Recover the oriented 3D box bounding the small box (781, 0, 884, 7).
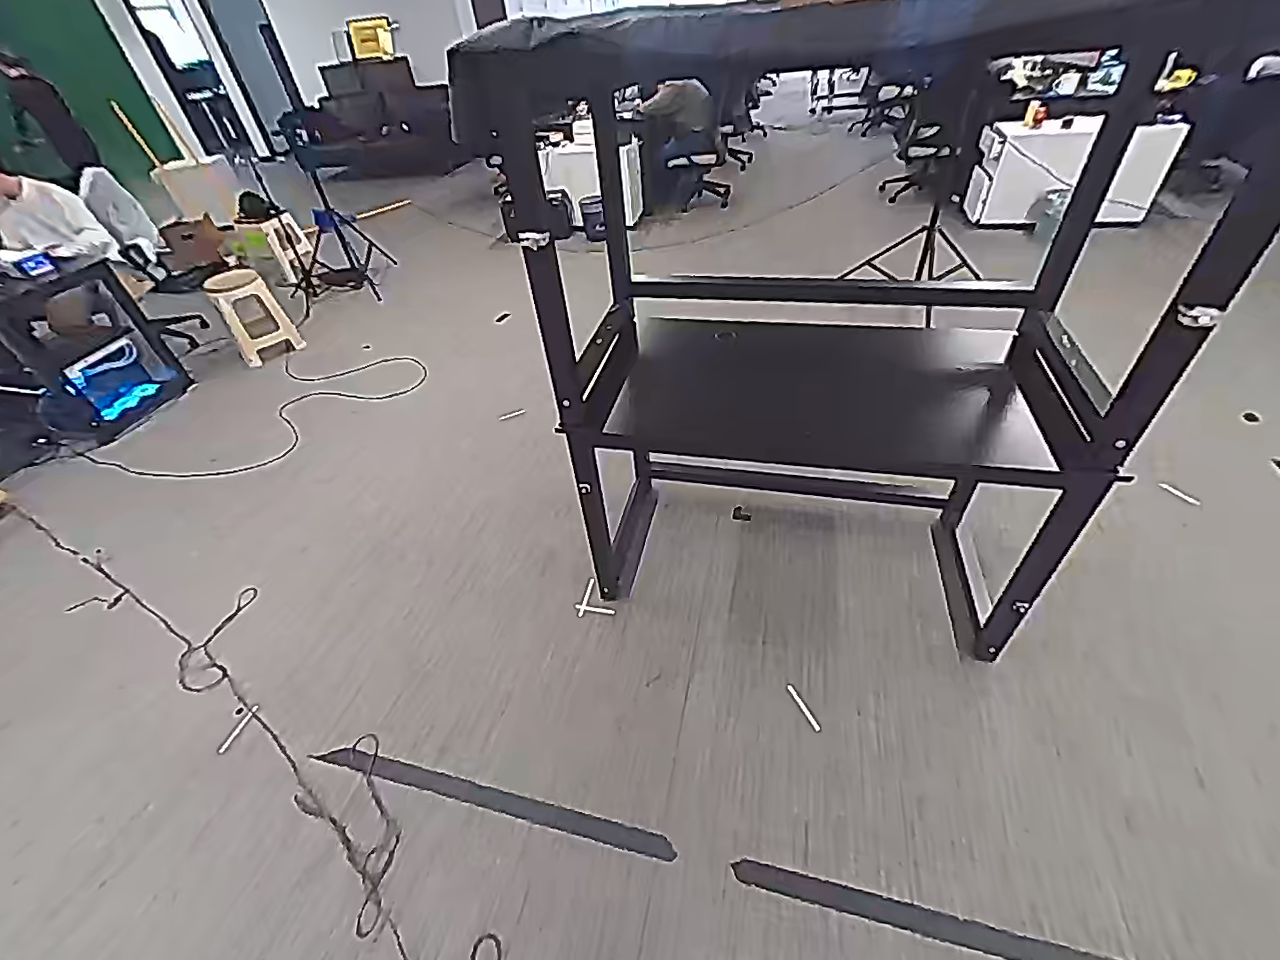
[{"bbox_3d":[0.290,-0.773,0.749,0.168,0.176,0.179,6,41,14],"label":"small box"}]
